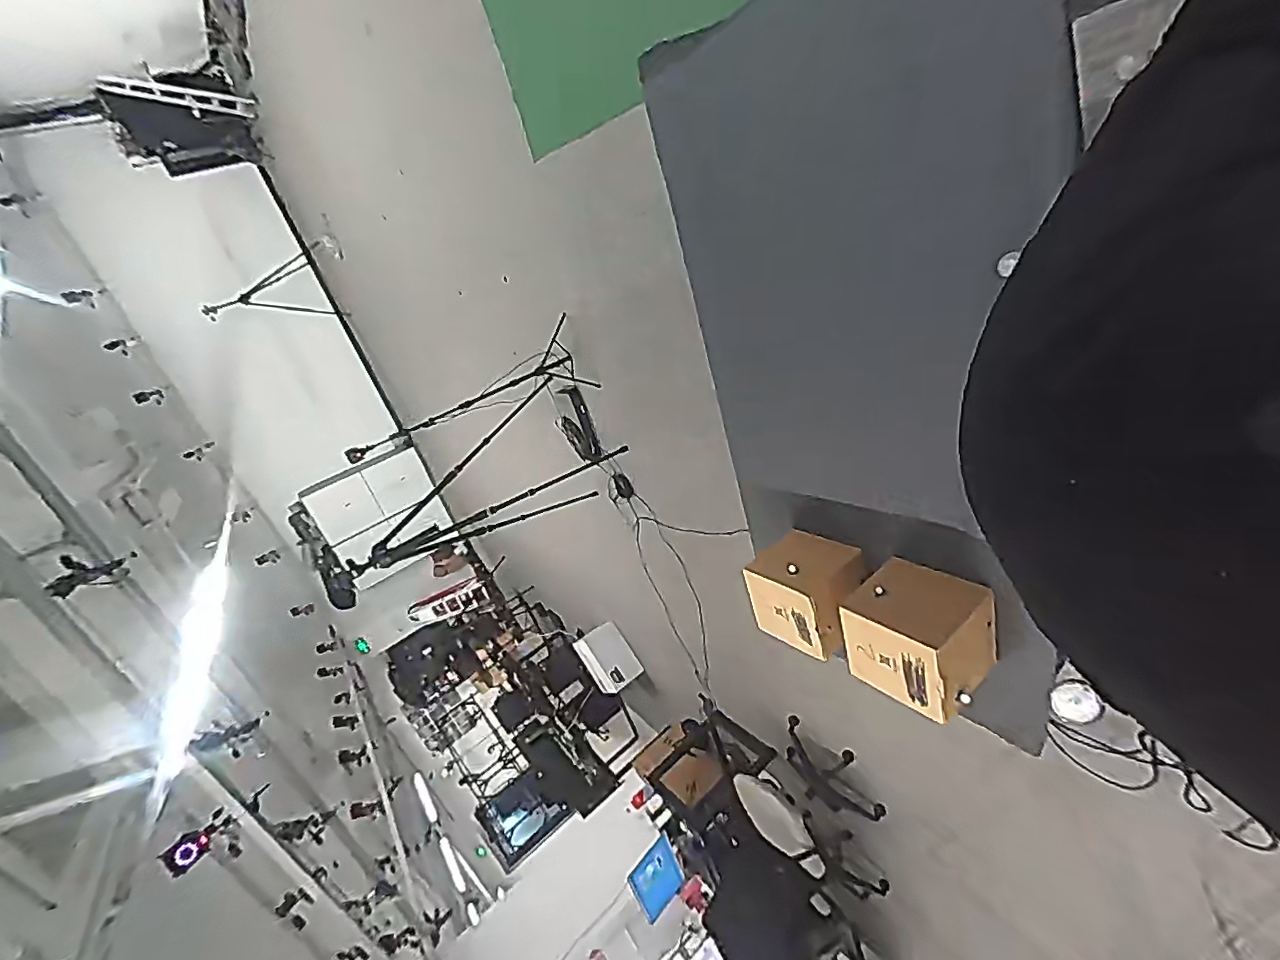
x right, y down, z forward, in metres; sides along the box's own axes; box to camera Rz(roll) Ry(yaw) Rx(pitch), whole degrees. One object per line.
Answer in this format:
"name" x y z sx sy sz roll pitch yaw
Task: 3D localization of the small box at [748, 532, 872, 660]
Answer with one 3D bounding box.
"small box" 0.358 0.229 1.119 0.179 0.176 0.168 17 131 54
